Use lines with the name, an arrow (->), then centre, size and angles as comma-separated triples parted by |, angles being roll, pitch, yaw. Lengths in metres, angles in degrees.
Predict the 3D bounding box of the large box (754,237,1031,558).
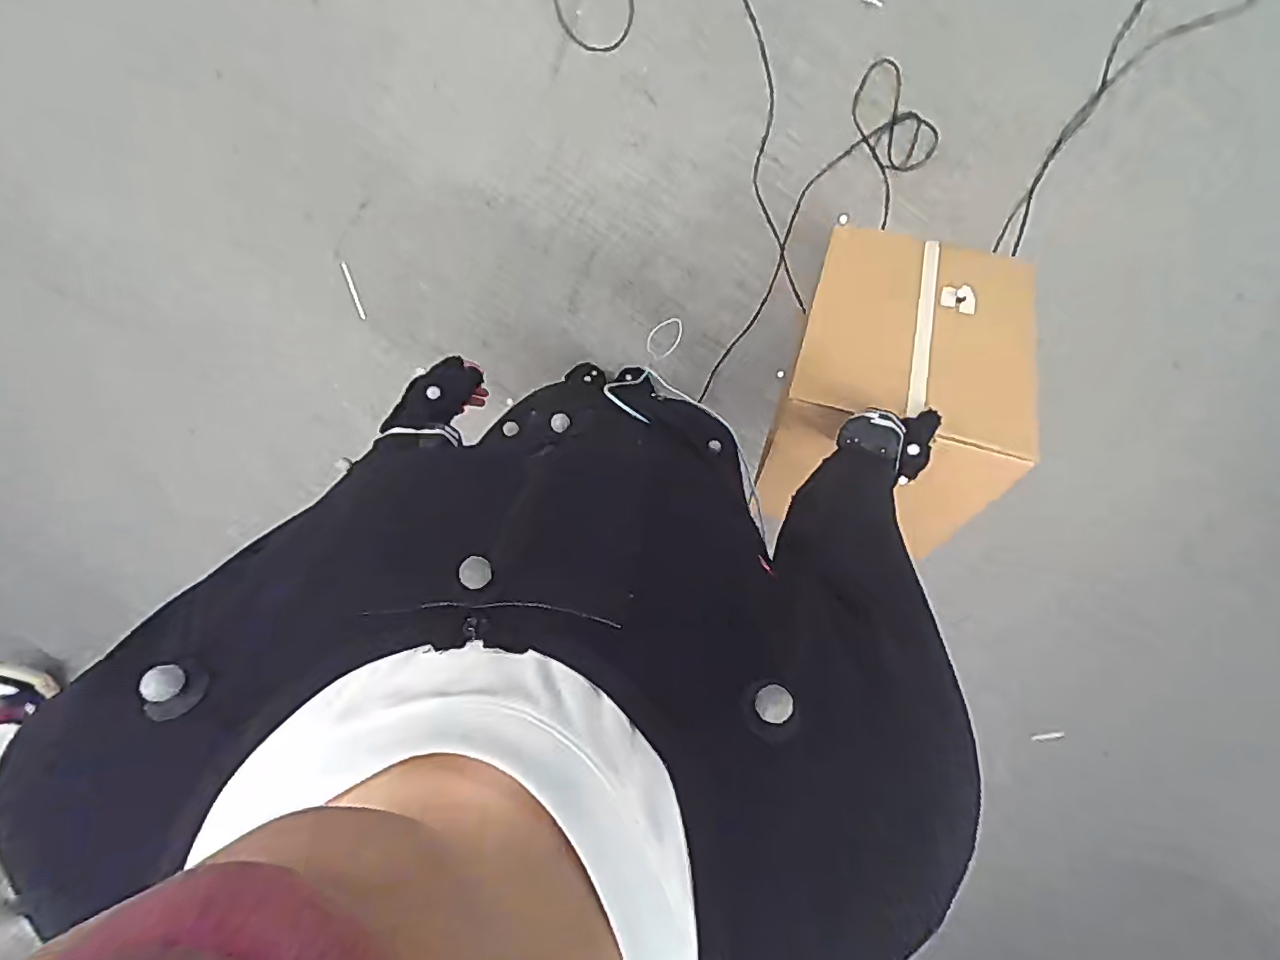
large box -> 0.410, -0.137, 0.927 | 0.320, 0.320, 0.408 | 18, 60, 9
